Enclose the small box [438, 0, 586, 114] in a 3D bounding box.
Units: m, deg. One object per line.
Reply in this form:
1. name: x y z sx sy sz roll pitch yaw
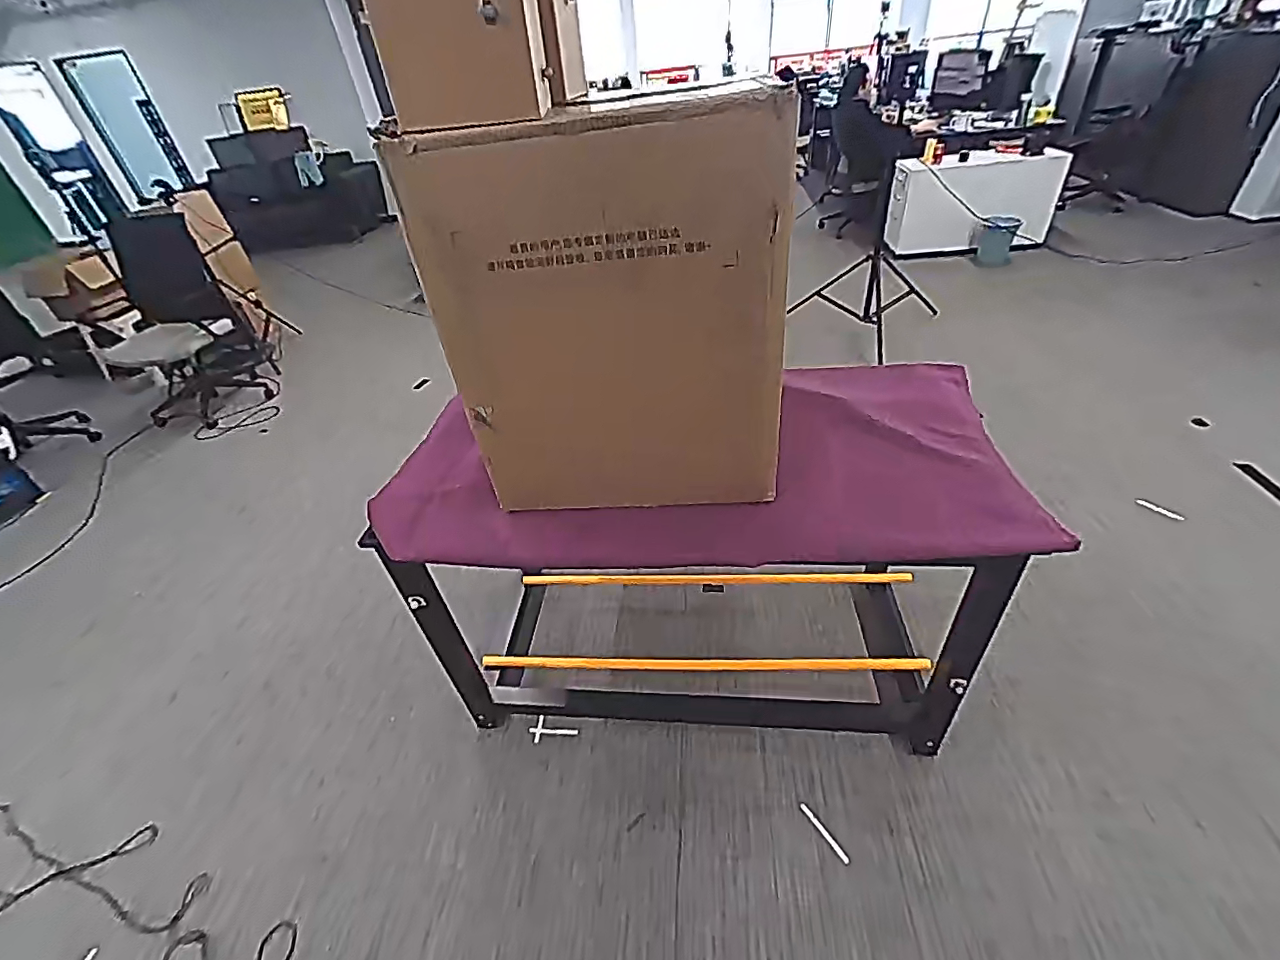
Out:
1. small box: -0.187 -0.681 0.844 0.168 0.176 0.179 1 38 8
